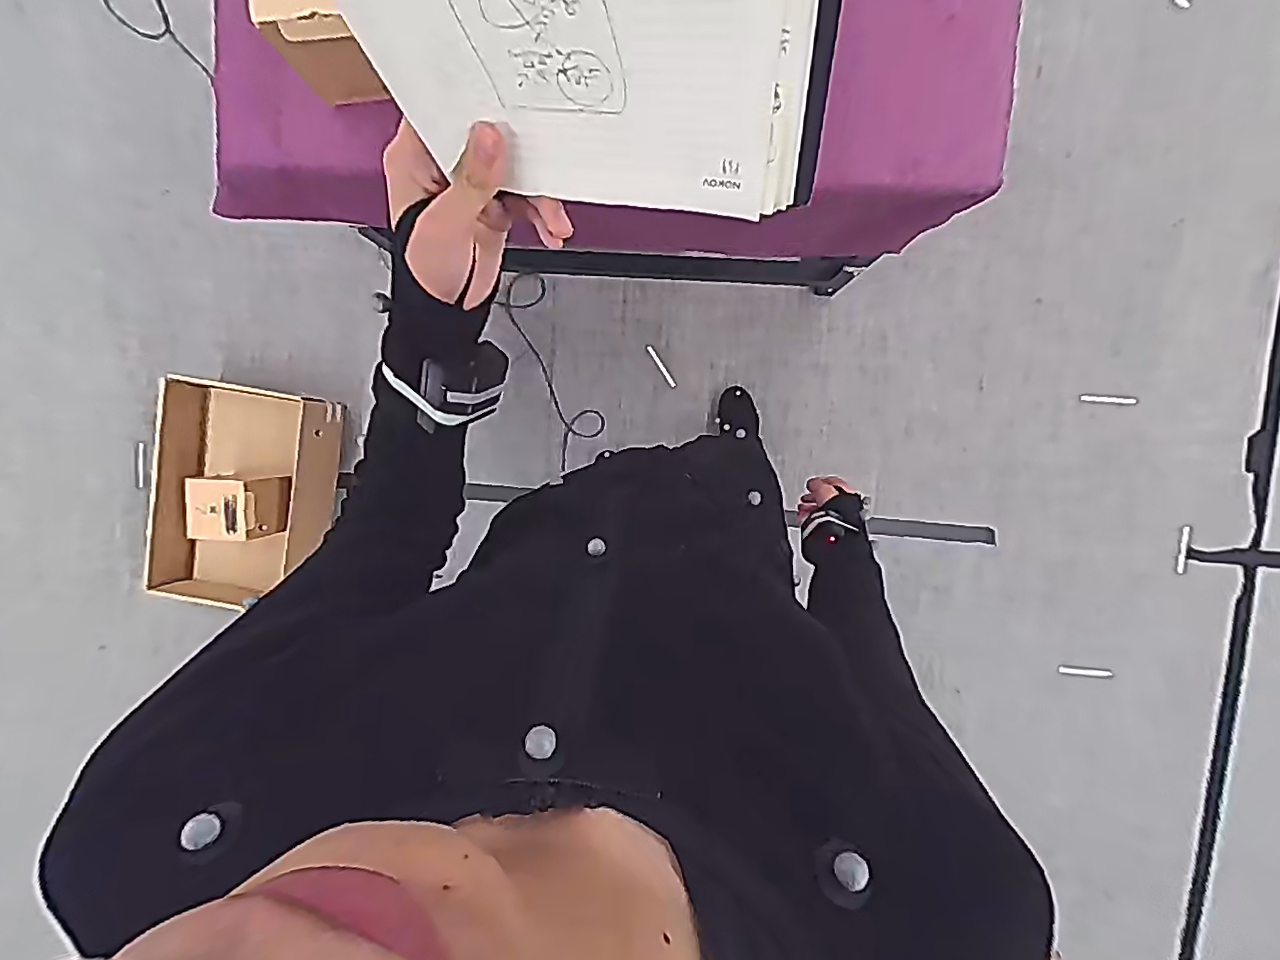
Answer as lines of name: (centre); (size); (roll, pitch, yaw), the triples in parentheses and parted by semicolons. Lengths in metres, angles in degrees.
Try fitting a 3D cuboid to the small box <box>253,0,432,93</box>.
small box: (-0.404, -0.673, 0.750); (0.168, 0.176, 0.179); (-4, 95, 2)
